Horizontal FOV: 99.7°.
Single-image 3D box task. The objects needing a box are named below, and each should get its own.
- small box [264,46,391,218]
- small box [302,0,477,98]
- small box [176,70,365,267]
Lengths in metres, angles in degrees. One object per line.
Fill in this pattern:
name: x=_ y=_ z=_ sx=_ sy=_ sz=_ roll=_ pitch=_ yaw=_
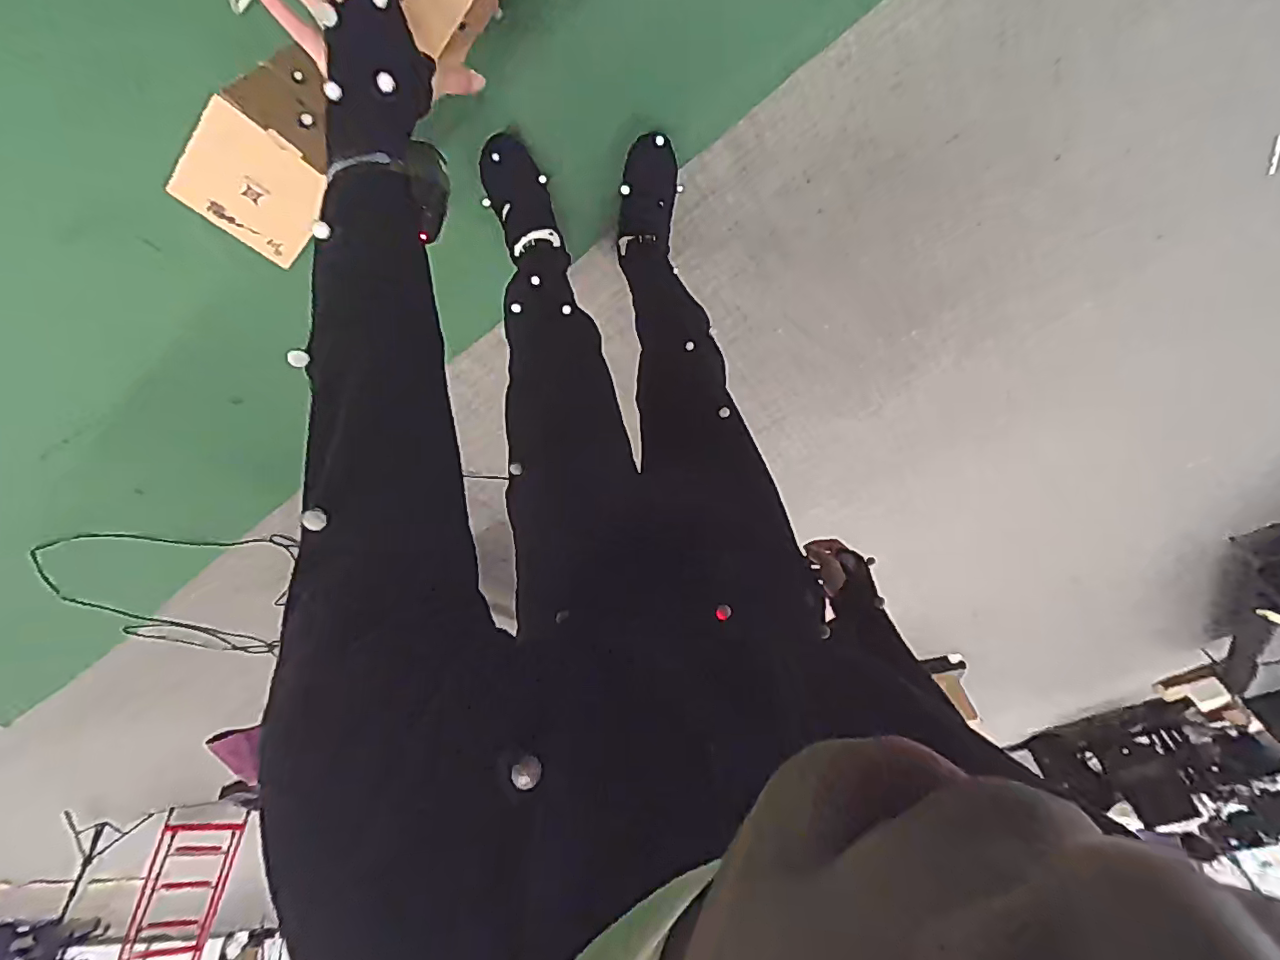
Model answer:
small box: x=-0.564 y=-0.599 z=0.937 sx=0.168 sy=0.176 sz=0.179 roll=-32 pitch=133 yaw=24
small box: x=-0.250 y=-0.551 z=0.551 sx=0.179 sy=0.176 sz=0.168 roll=-36 pitch=132 yaw=27
small box: x=-0.549 y=-0.477 z=0.828 sx=0.179 sy=0.176 sz=0.168 roll=-34 pitch=132 yaw=25
